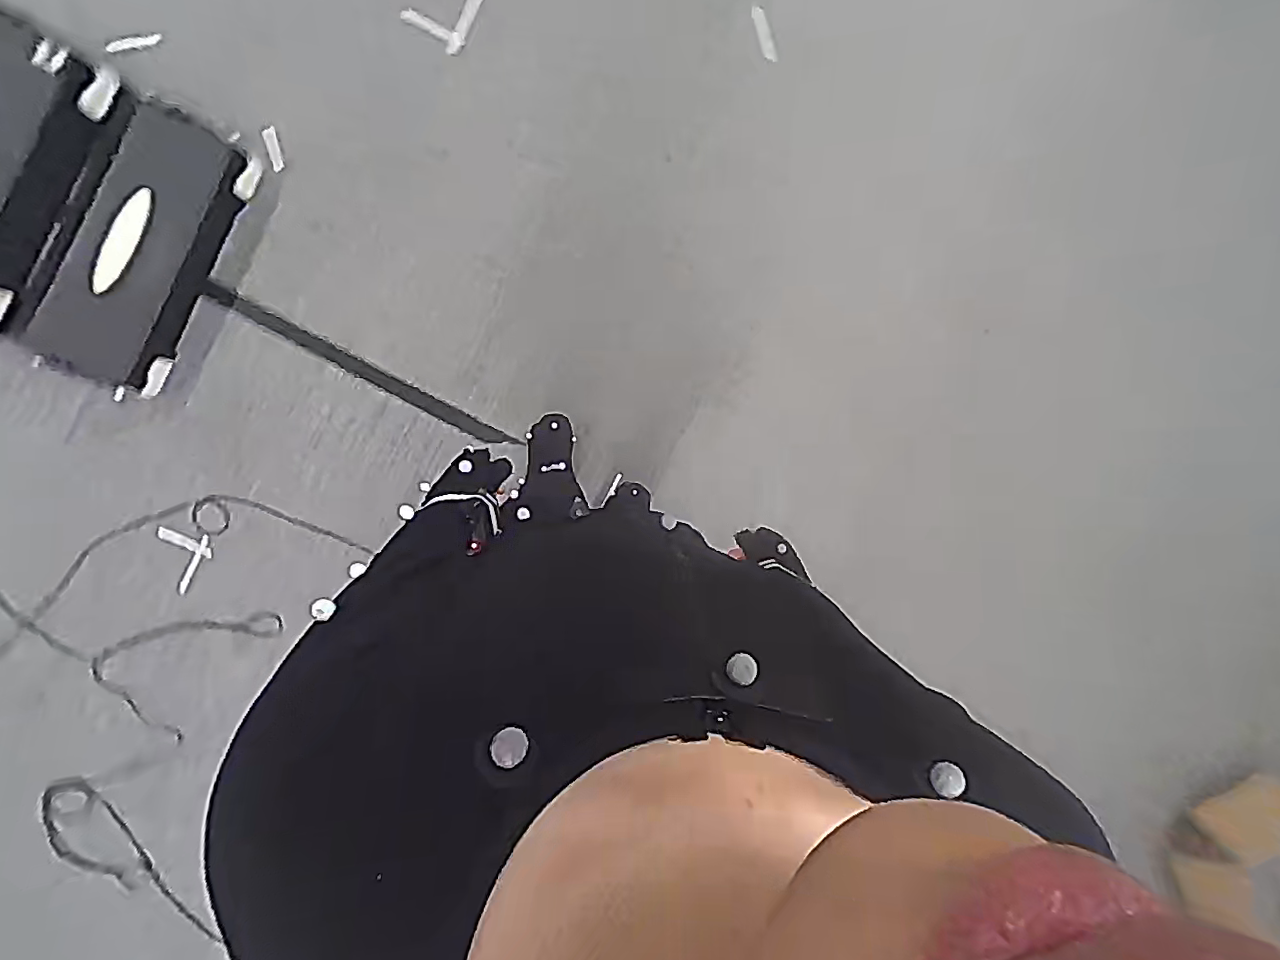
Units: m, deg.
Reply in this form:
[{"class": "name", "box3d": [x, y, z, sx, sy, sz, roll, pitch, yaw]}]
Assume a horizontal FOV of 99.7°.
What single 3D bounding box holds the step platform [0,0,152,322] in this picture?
[{"class": "step platform", "box3d": [-1.440, -0.724, 1.221, 0.286, 0.204, 0.684, 26, 89, -6]}]
